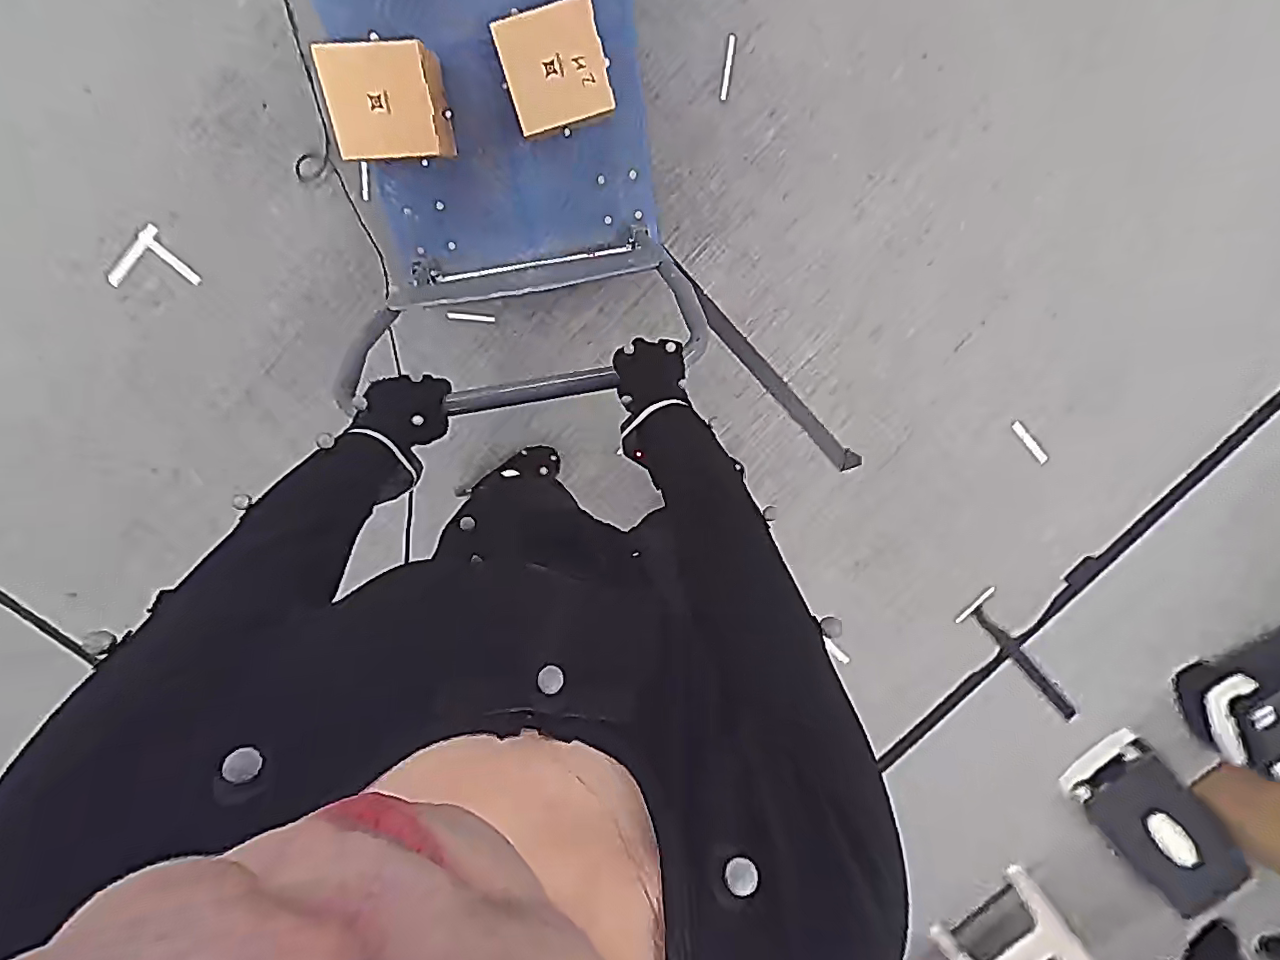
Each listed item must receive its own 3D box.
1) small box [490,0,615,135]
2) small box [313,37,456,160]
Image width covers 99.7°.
[{"bbox_3d":[-0.153,-0.753,0.995,0.179,0.176,0.168,-16,121,3],"label":"small box"},{"bbox_3d":[-0.455,-0.691,0.994,0.179,0.176,0.168,-7,121,-5],"label":"small box"}]
